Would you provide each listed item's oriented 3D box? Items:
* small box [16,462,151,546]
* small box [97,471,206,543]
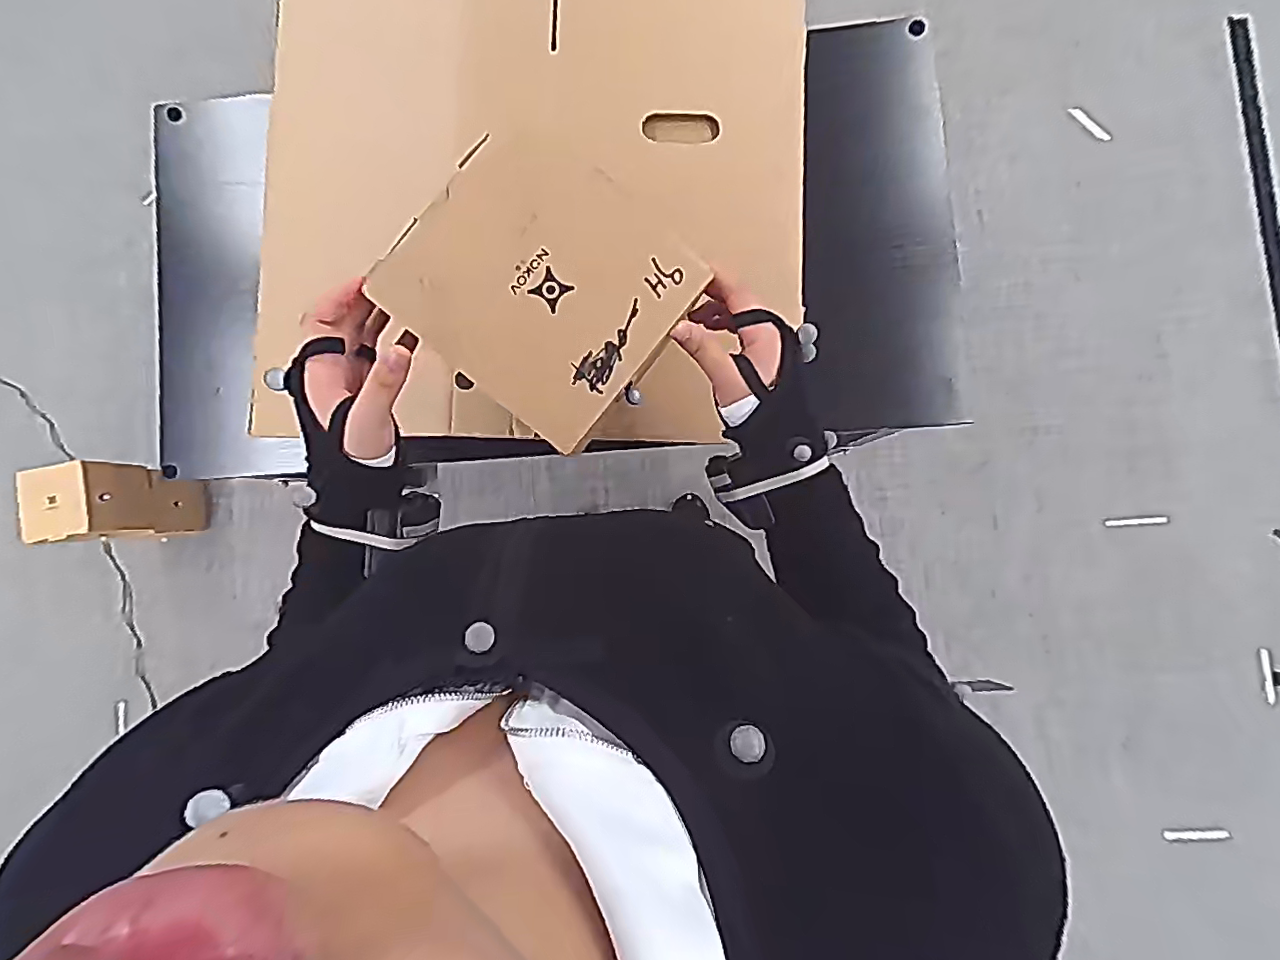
[{"bbox_3d":[-1.373,0.061,1.346,0.168,0.176,0.179,-11,85,2],"label":"small box"},{"bbox_3d":[-1.361,0.076,1.507,0.168,0.176,0.179,-8,87,3],"label":"small box"}]
